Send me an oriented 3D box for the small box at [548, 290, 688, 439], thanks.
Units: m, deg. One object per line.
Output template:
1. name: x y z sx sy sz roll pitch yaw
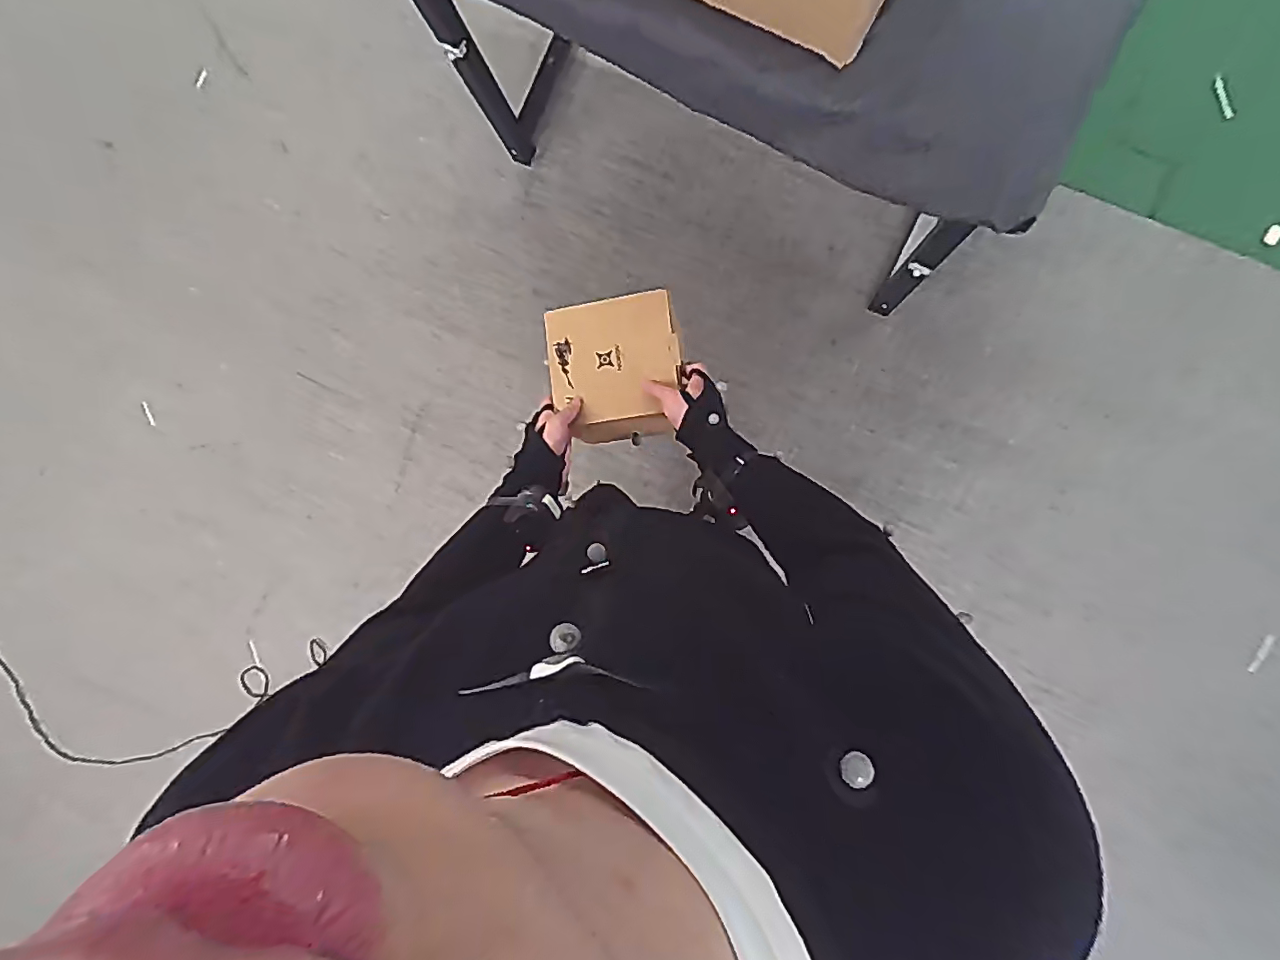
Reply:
1. small box: -0.023 -0.159 0.801 0.179 0.176 0.168 -7 85 9
